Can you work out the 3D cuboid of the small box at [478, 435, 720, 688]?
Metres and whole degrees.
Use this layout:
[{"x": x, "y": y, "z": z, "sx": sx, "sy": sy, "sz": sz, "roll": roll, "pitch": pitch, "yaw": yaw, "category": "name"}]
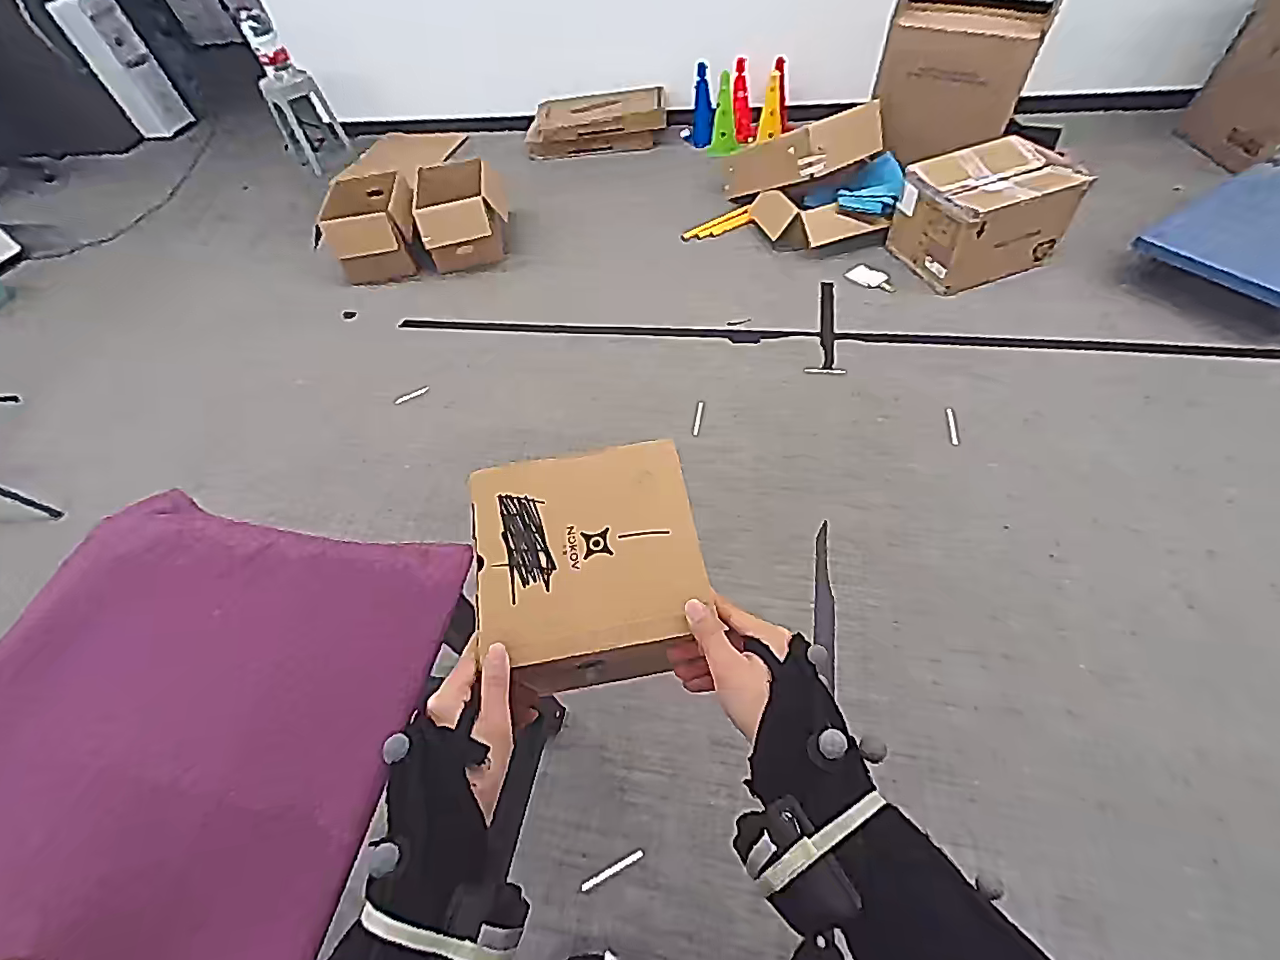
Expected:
[{"x": -0.036, "y": 0.083, "z": 0.493, "sx": 0.179, "sy": 0.176, "sz": 0.168, "roll": -10, "pitch": 63, "yaw": -4, "category": "small box"}]
